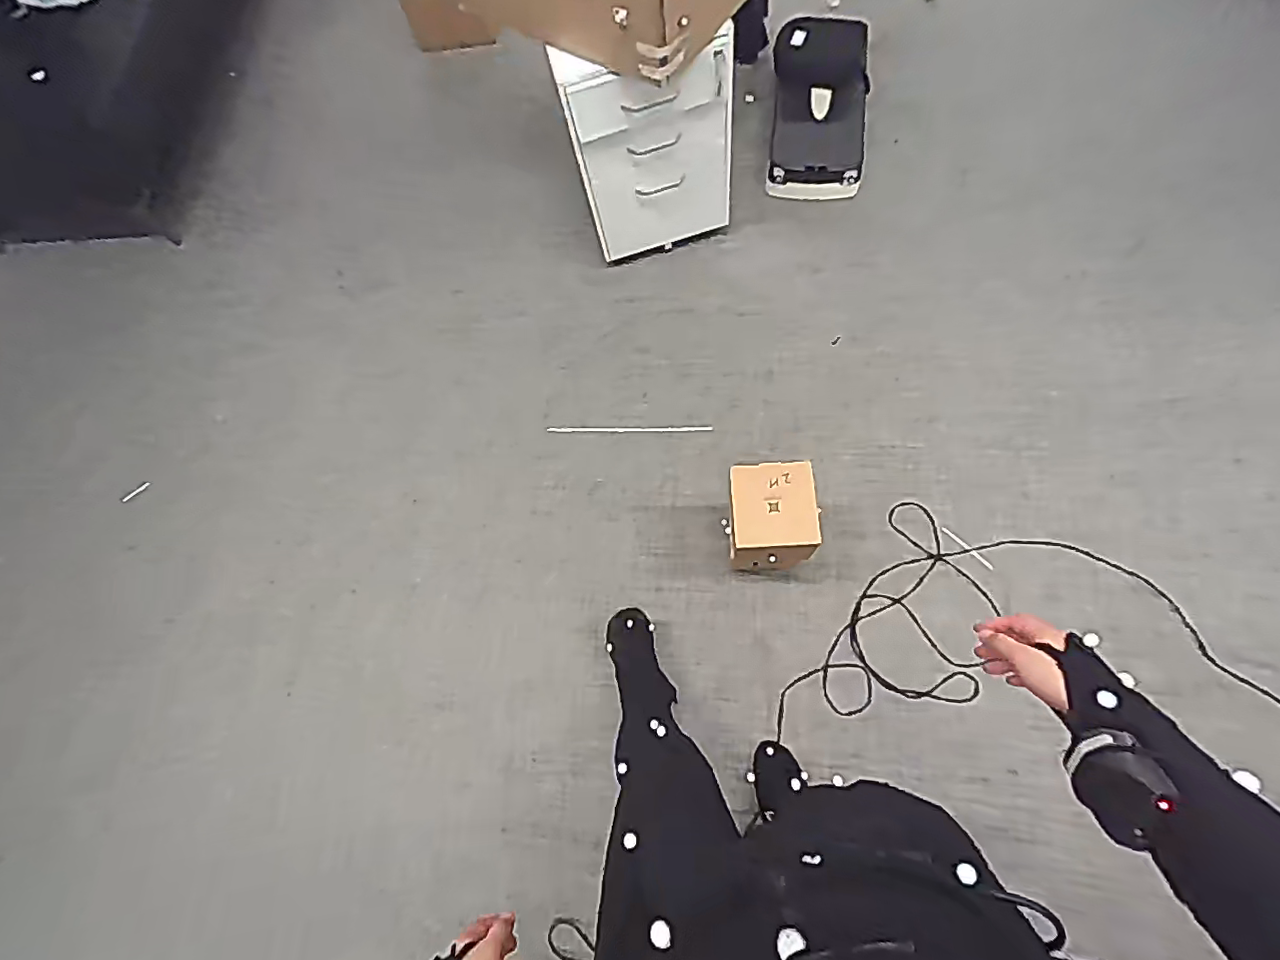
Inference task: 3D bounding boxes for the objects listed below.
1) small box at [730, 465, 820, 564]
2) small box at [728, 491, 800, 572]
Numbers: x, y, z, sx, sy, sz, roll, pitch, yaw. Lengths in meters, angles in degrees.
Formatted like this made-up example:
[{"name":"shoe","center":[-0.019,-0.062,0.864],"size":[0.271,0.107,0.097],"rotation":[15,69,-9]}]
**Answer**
[{"name":"small box","center":[0.283,0.081,1.162],"size":[0.168,0.176,0.179],"rotation":[-4,69,7]},{"name":"small box","center":[0.303,0.129,1.319],"size":[0.168,0.176,0.179],"rotation":[-3,70,8]}]
